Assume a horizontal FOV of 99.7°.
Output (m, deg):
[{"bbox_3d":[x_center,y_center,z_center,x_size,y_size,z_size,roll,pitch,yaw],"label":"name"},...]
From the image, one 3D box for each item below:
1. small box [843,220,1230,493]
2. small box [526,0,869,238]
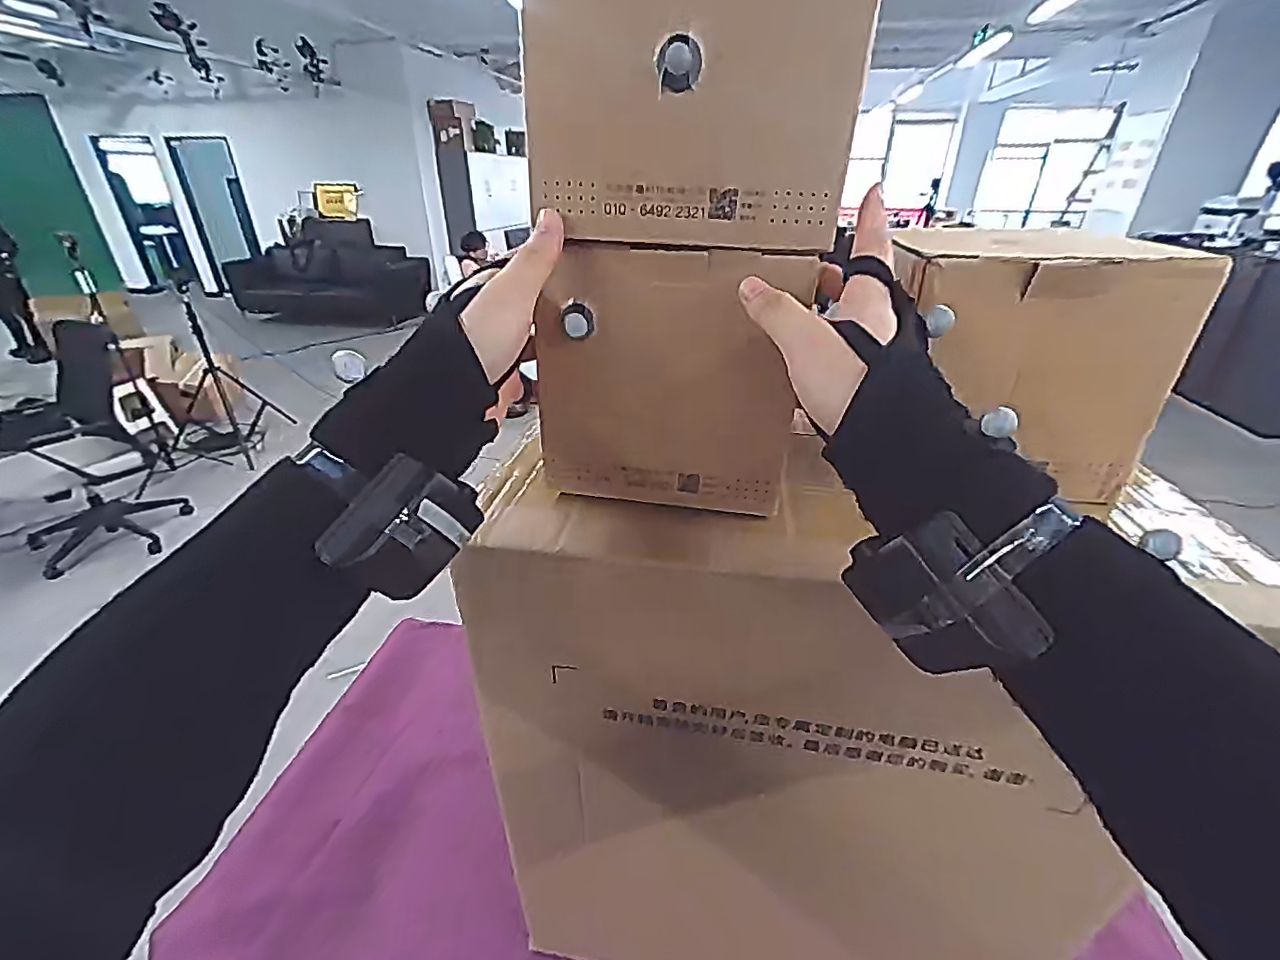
[{"bbox_3d":[0.271,-0.108,0.430,0.168,0.176,0.179,3,30,7],"label":"small box"},{"bbox_3d":[0.033,-0.245,0.330,0.168,0.176,0.179,5,27,4],"label":"small box"}]
